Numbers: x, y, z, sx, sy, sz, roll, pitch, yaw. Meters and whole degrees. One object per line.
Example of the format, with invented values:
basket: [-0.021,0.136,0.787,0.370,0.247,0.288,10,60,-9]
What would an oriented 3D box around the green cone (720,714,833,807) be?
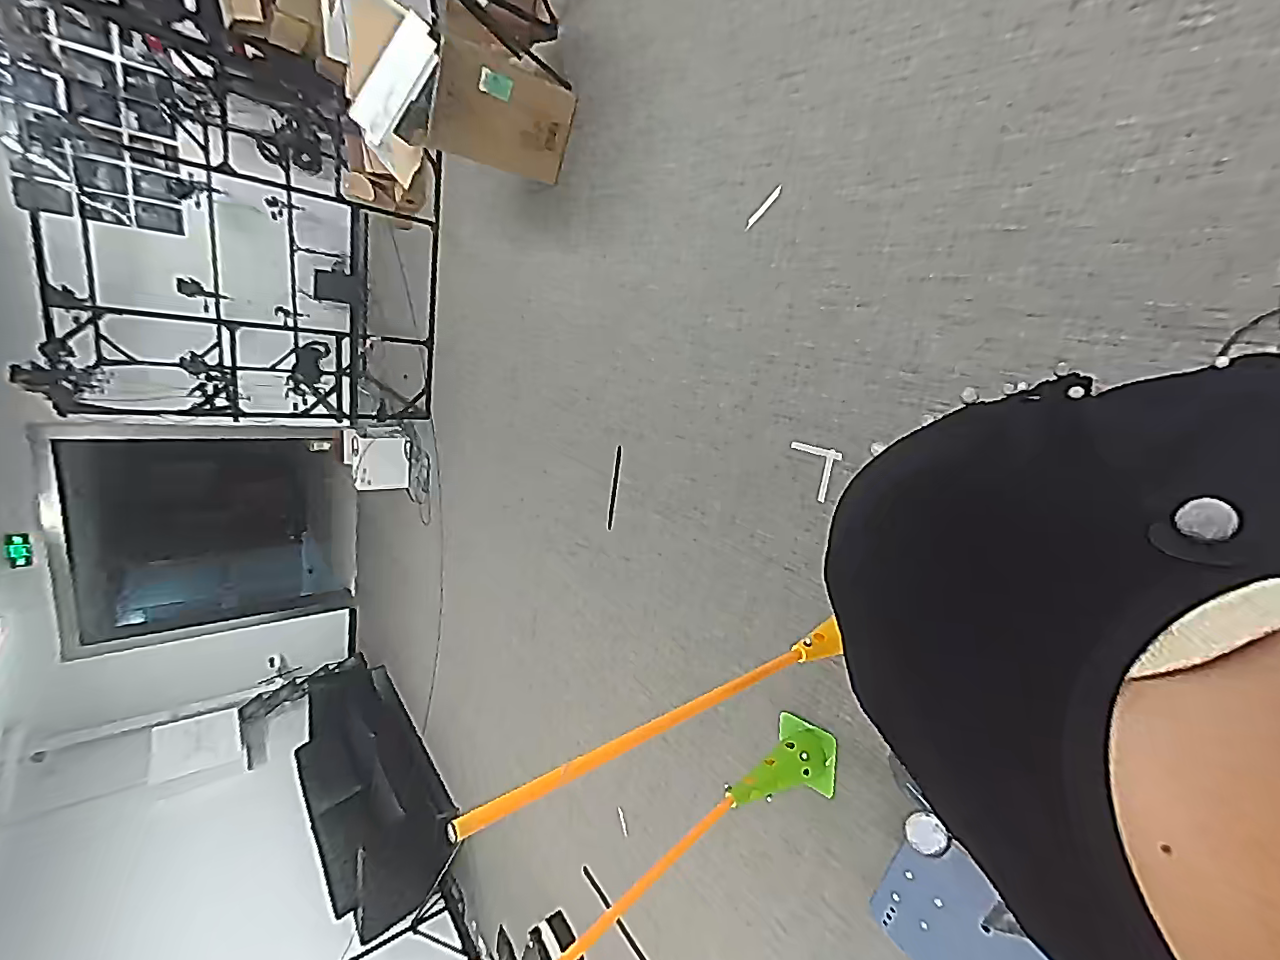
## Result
green cone: [0.370,0.857,1.561,0.200,0.368,0.202,7,97,51]
